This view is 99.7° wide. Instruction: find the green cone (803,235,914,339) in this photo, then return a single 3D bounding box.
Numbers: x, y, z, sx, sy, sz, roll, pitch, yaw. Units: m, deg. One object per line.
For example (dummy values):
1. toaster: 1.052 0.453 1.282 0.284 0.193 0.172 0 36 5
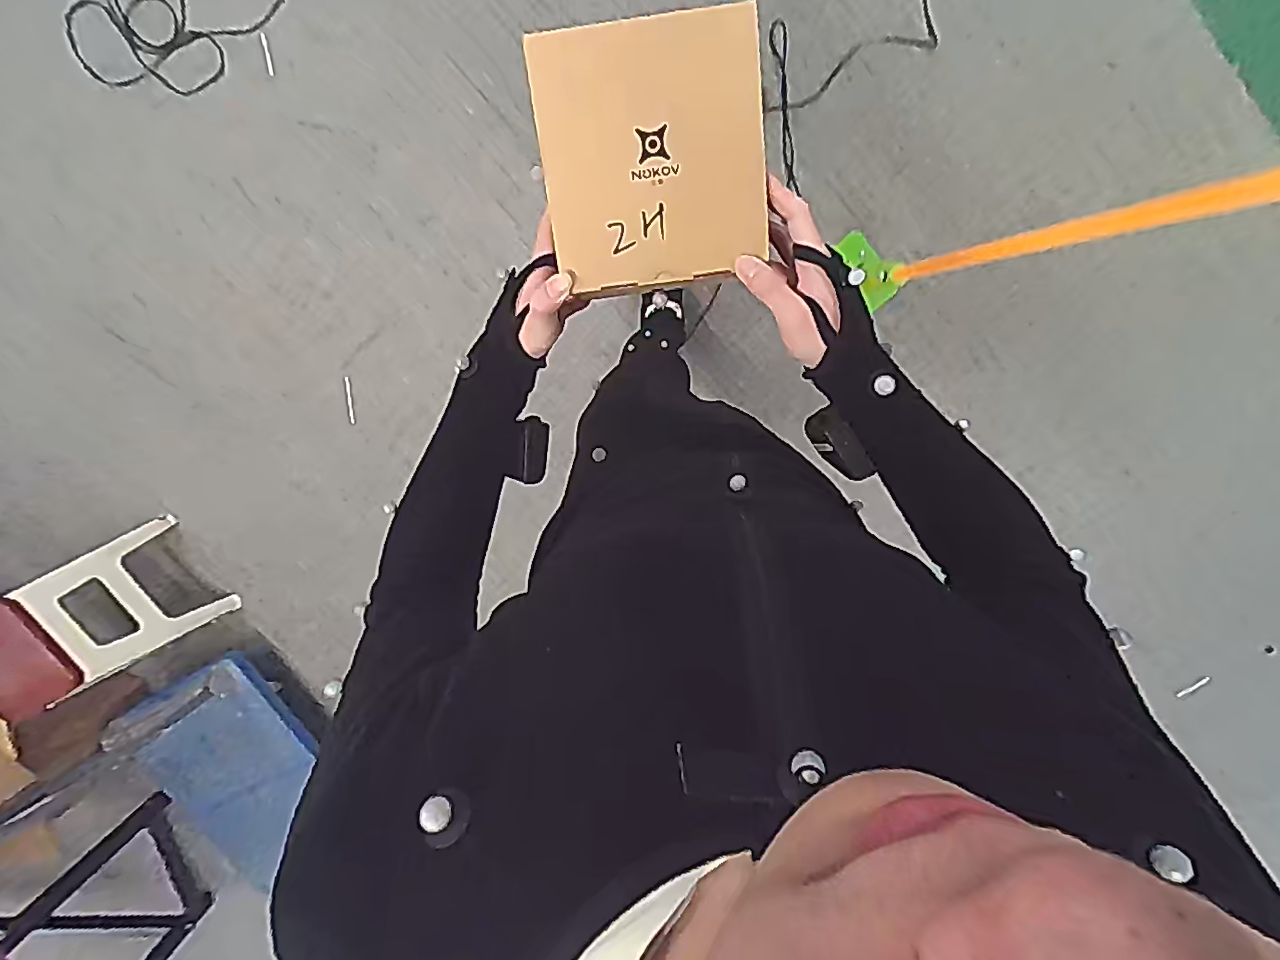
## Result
1. green cone: 0.547 -0.460 1.250 0.200 0.368 0.202 -40 98 12
